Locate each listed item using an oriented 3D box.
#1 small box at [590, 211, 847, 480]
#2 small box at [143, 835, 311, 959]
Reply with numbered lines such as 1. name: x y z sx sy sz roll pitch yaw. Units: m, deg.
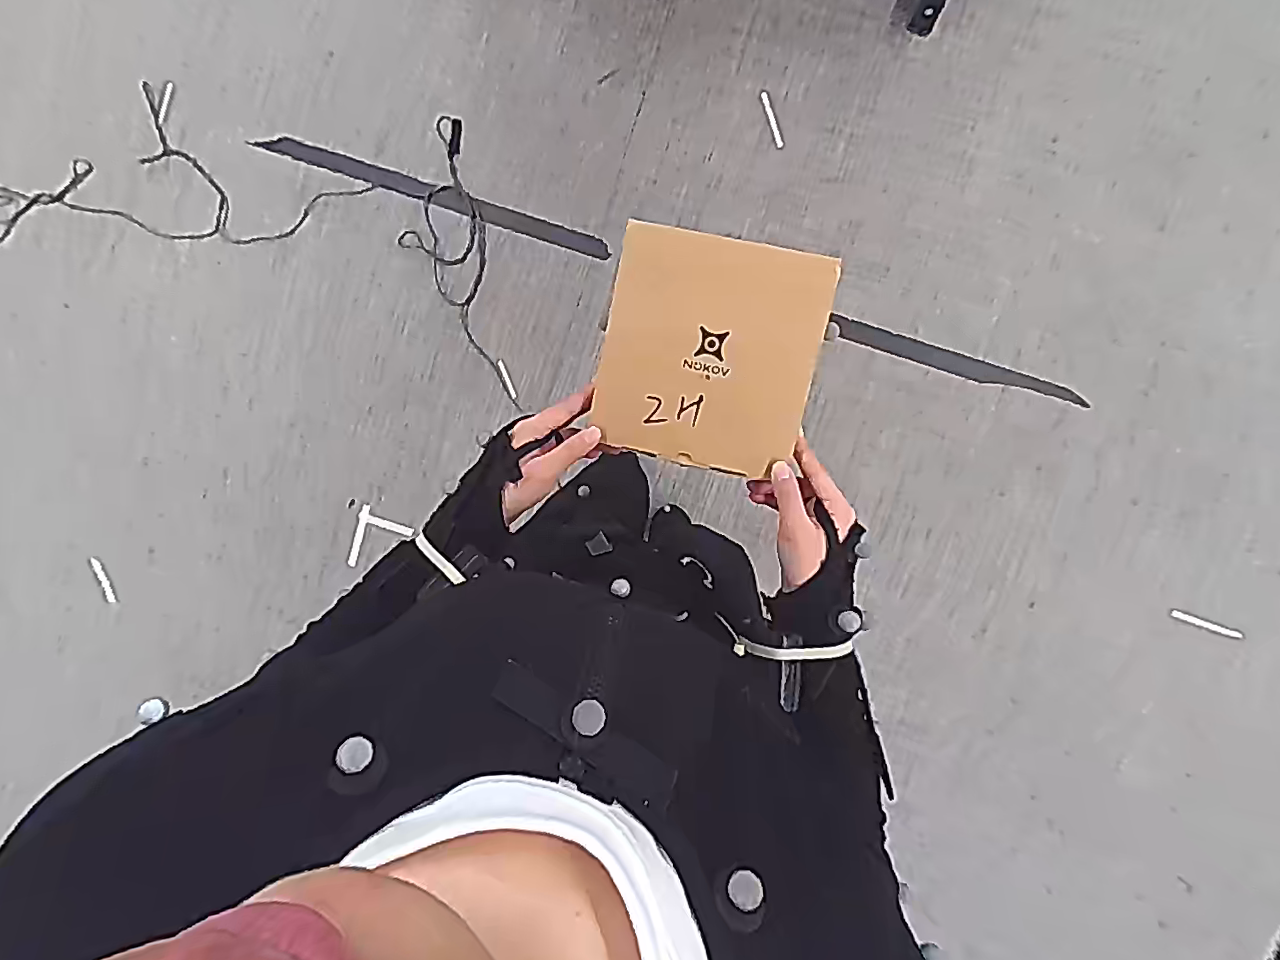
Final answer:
1. small box: 0.065 -0.112 0.492 0.168 0.176 0.179 14 99 5
2. small box: -0.776 0.828 1.032 0.179 0.176 0.168 22 94 5
